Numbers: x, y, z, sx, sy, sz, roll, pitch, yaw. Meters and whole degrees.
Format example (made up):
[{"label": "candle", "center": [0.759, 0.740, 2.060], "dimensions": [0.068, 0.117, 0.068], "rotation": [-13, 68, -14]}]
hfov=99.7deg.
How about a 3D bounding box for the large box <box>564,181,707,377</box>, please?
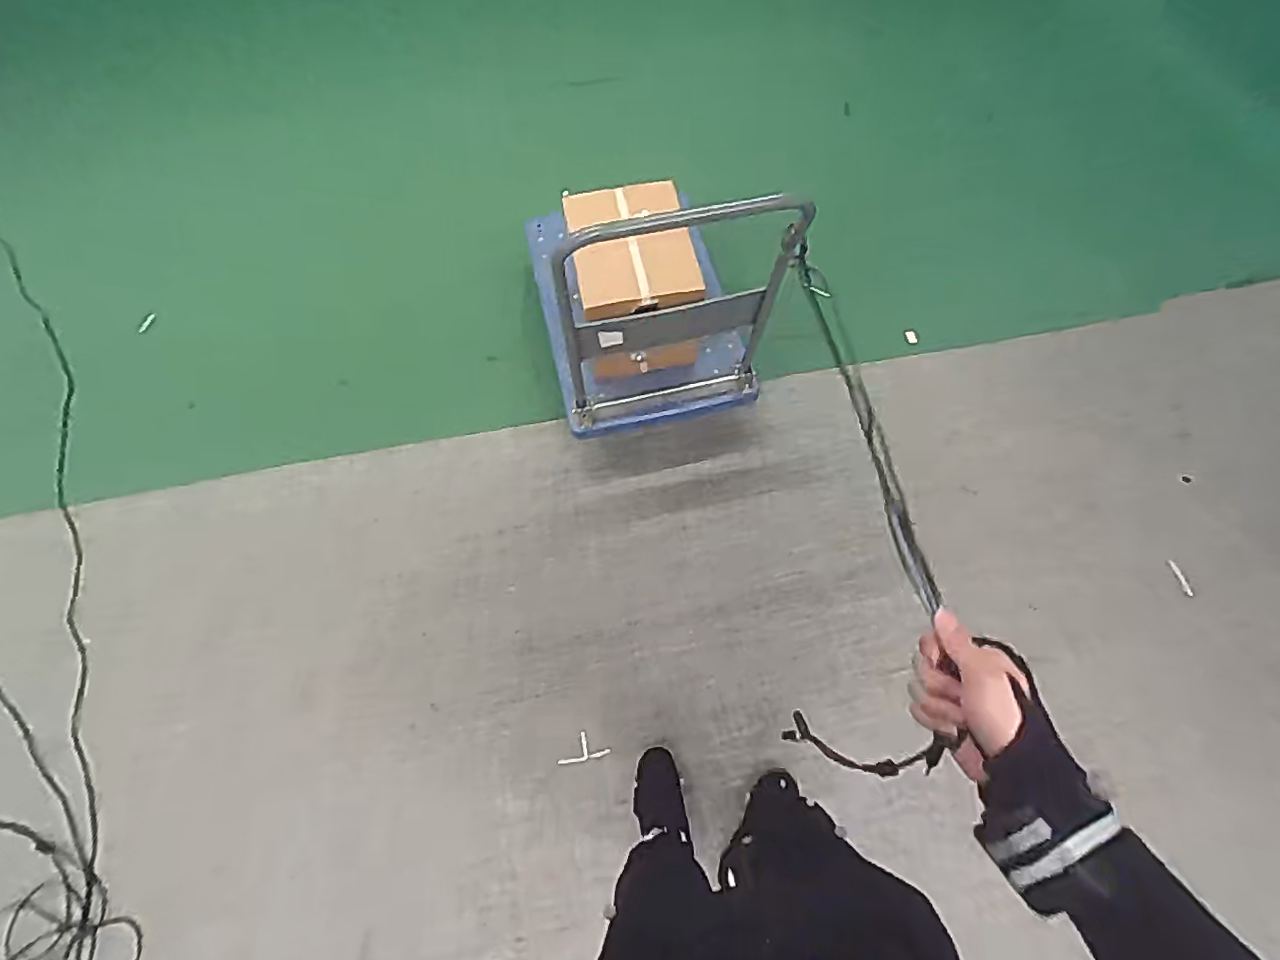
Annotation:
[{"label": "large box", "center": [-0.016, -0.565, 1.545], "dimensions": [0.320, 0.320, 0.408], "rotation": [-10, 66, -4]}]
